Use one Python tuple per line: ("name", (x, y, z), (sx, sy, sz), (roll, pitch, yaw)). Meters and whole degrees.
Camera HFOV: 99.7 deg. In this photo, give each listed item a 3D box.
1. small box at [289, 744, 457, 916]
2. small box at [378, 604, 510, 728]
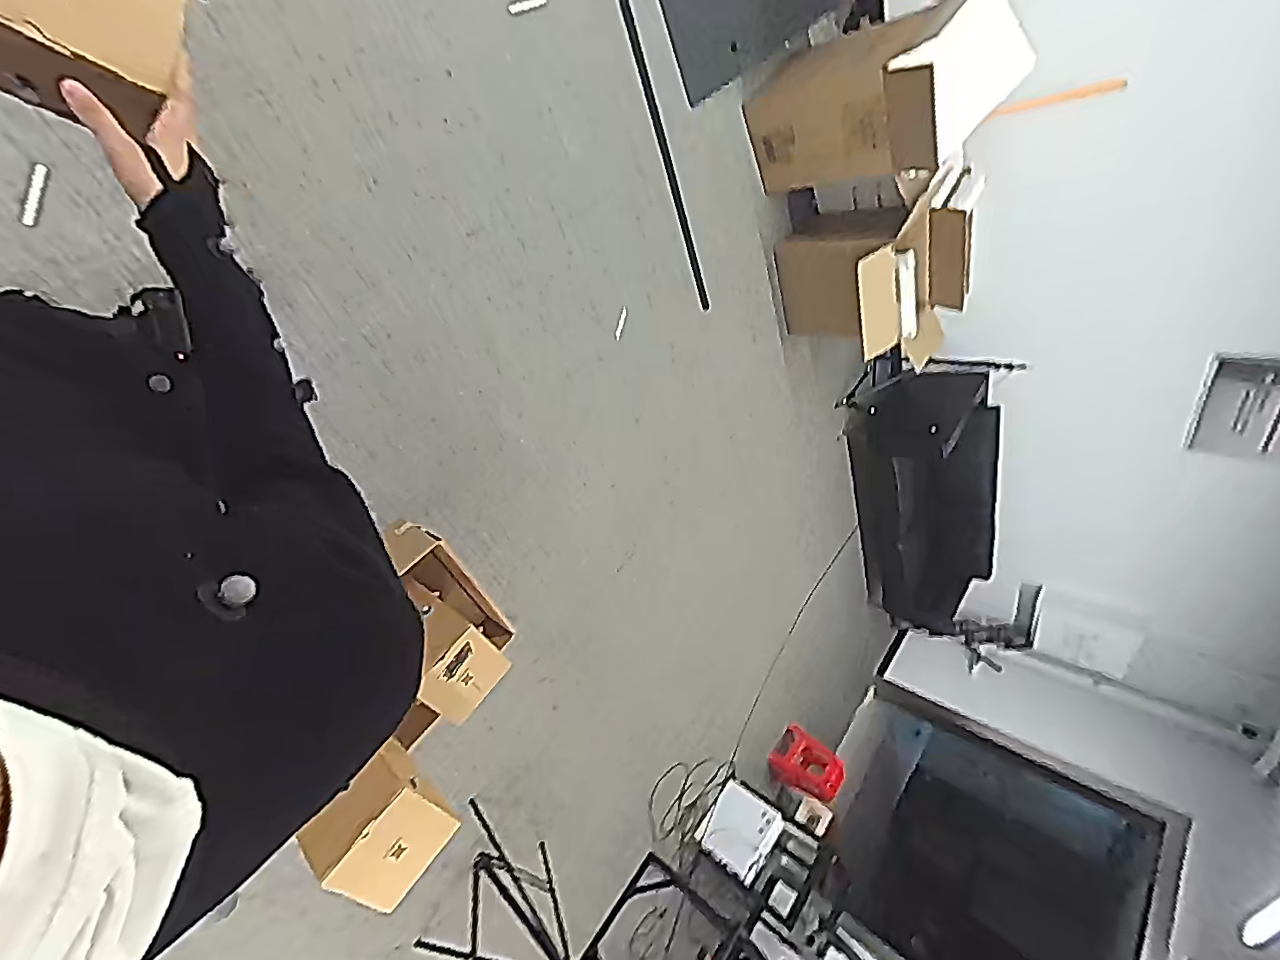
("small box", (-0.464, 0.601, 0.944), (0.168, 0.176, 0.179), (-48, 132, -27))
("small box", (-0.425, 0.392, 1.168), (0.168, 0.176, 0.179), (-49, 135, -25))
